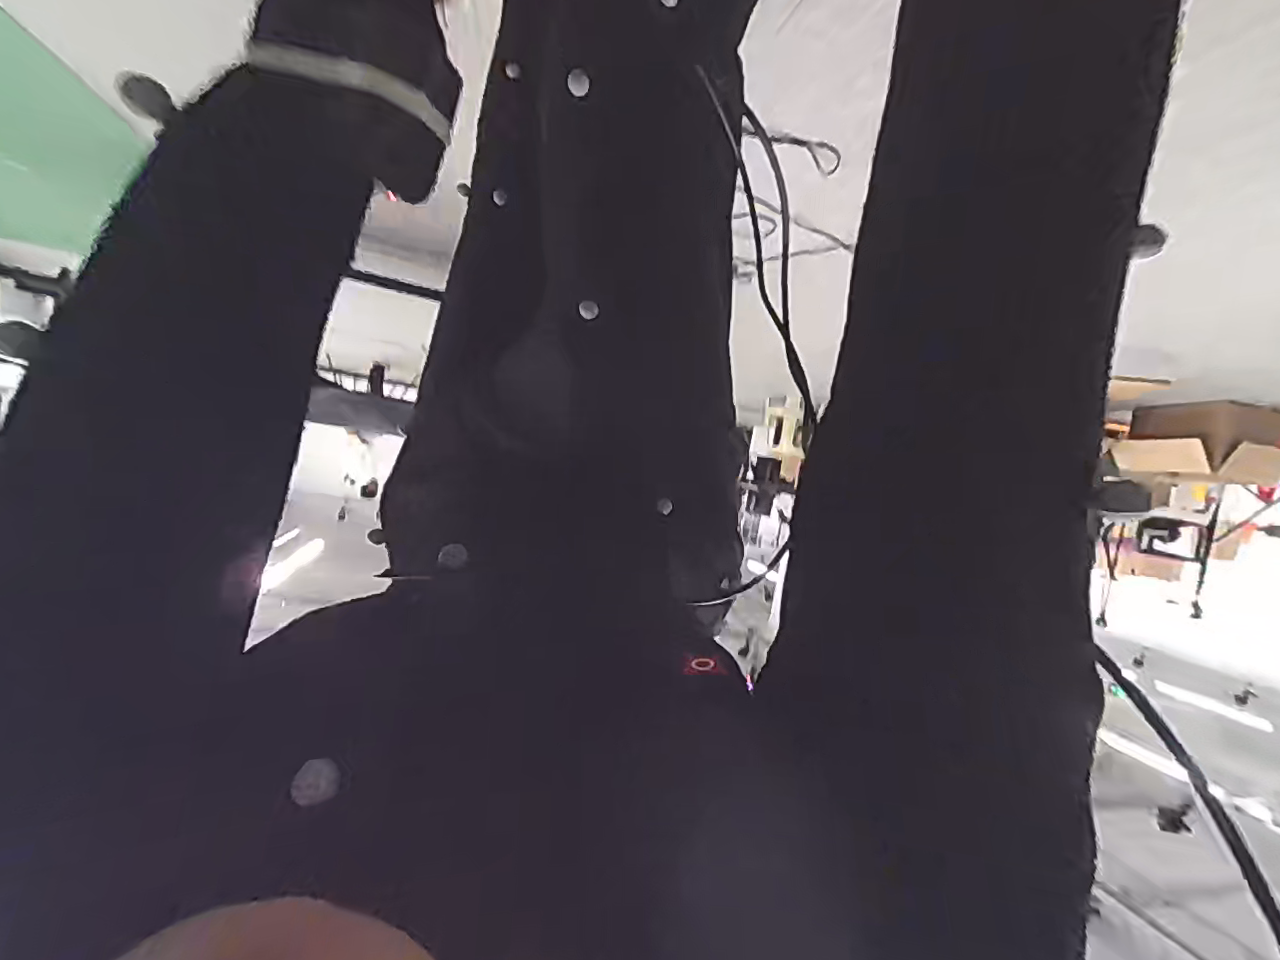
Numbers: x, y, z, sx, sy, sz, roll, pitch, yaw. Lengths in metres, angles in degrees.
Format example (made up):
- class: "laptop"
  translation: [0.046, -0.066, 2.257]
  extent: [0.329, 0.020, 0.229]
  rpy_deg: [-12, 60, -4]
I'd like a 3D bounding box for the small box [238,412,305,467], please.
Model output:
- class: "small box"
  translation: [-1.298, -0.145, 1.912]
  extent: [0.179, 0.176, 0.168]
  rpy_deg: [7, -175, -33]
